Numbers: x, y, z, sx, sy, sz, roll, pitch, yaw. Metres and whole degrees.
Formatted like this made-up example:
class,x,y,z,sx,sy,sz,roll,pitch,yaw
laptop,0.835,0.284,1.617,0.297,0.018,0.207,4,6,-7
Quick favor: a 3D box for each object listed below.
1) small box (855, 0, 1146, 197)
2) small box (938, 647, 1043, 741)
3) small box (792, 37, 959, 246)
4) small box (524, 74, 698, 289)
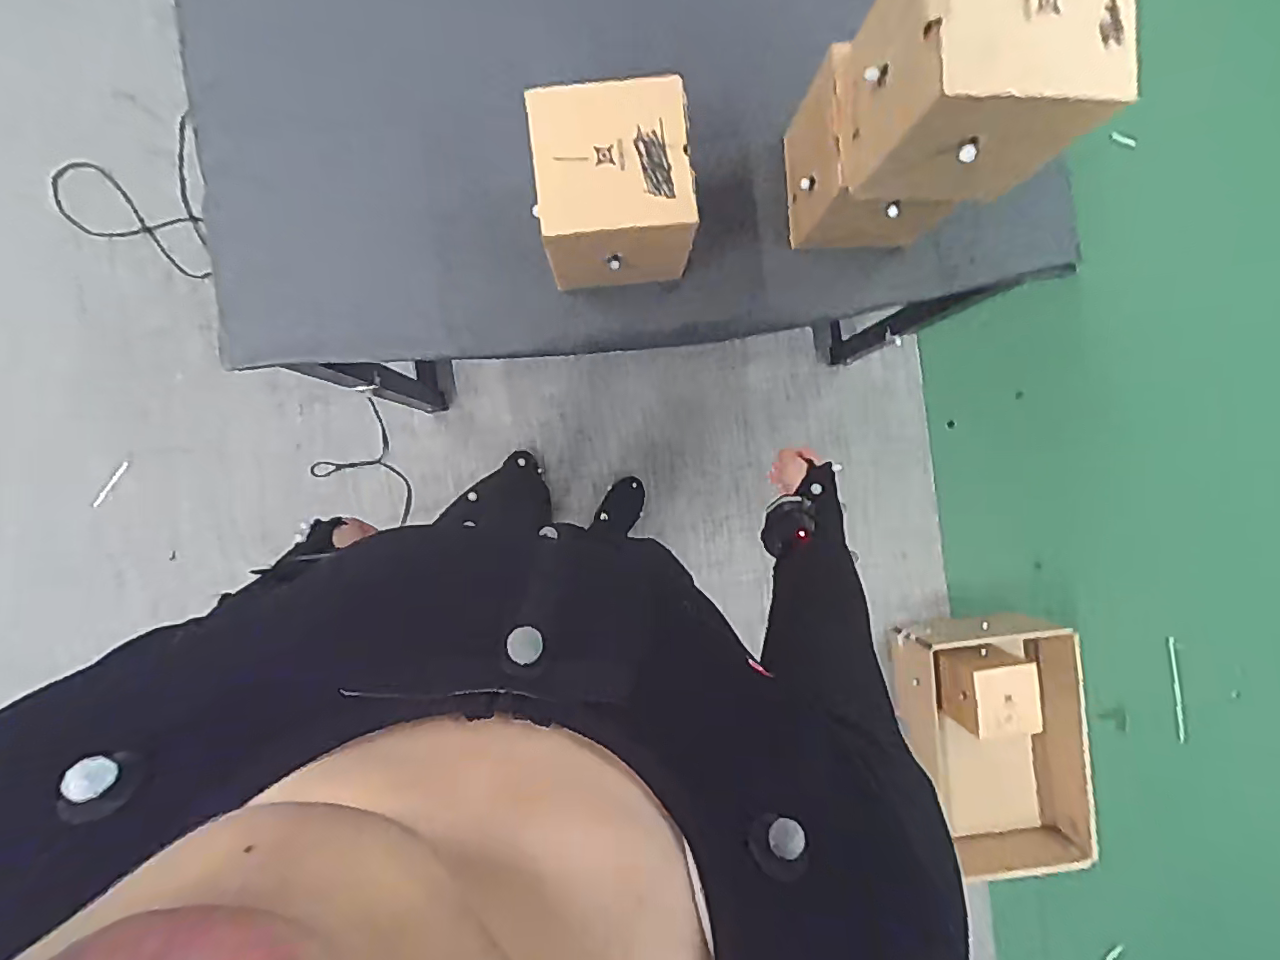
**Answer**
class,x,y,z,sx,sy,sz,roll,pitch,yaw
small box,0.322,-0.394,0.518,0.179,0.176,0.168,-1,91,-3
small box,0.903,0.546,1.408,0.168,0.176,0.179,-6,92,-2
small box,0.299,-0.410,0.681,0.179,0.176,0.168,-4,91,-4
small box,-0.033,-0.349,0.662,0.179,0.176,0.168,-6,90,-1
